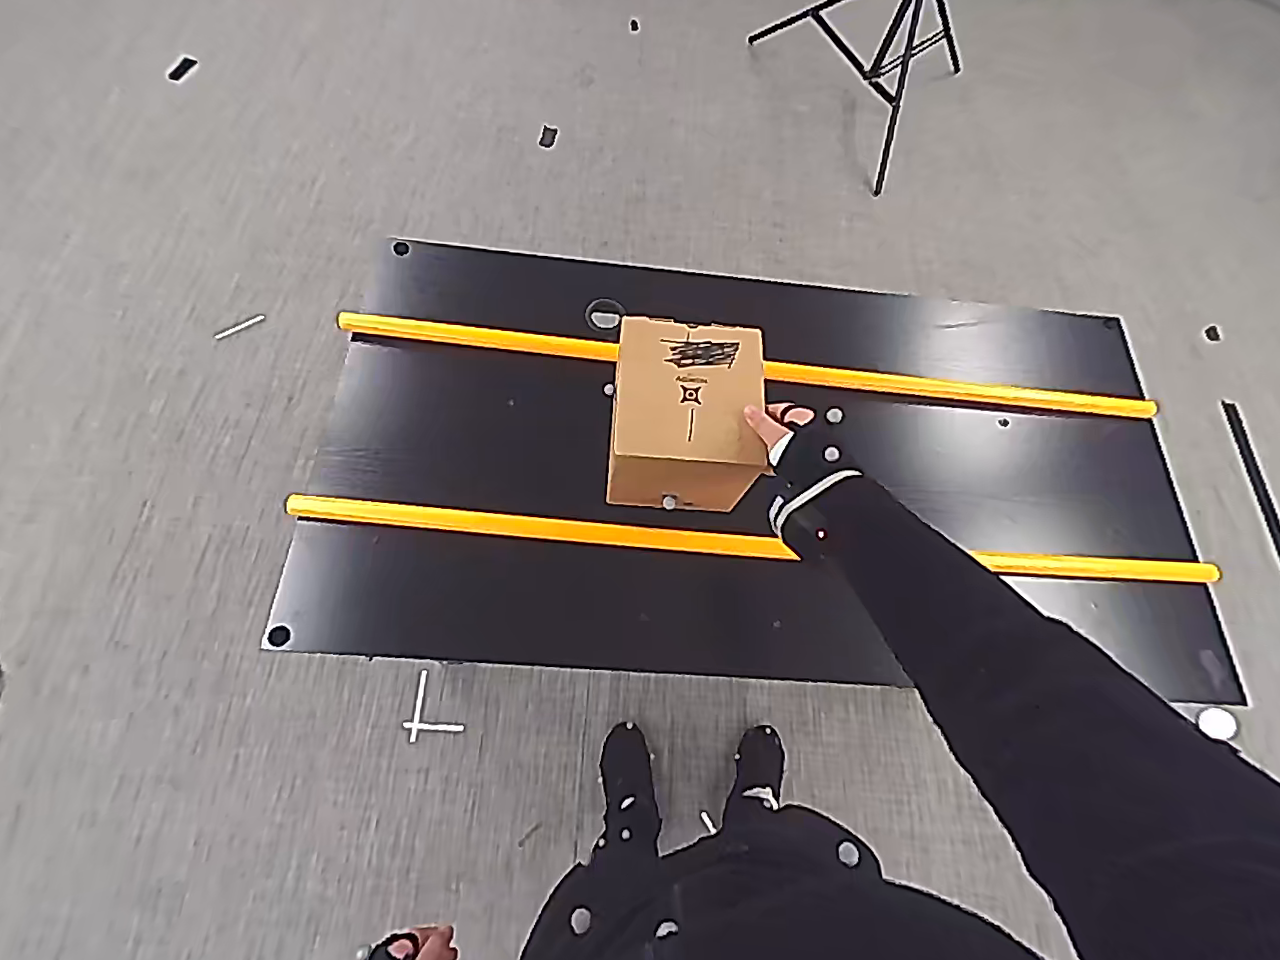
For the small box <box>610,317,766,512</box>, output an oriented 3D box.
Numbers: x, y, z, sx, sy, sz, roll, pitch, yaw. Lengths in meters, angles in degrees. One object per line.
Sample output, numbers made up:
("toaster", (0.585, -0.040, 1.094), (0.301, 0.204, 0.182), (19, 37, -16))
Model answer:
("small box", (0.051, -0.073, 0.674), (0.168, 0.176, 0.179), (4, 70, -4))
